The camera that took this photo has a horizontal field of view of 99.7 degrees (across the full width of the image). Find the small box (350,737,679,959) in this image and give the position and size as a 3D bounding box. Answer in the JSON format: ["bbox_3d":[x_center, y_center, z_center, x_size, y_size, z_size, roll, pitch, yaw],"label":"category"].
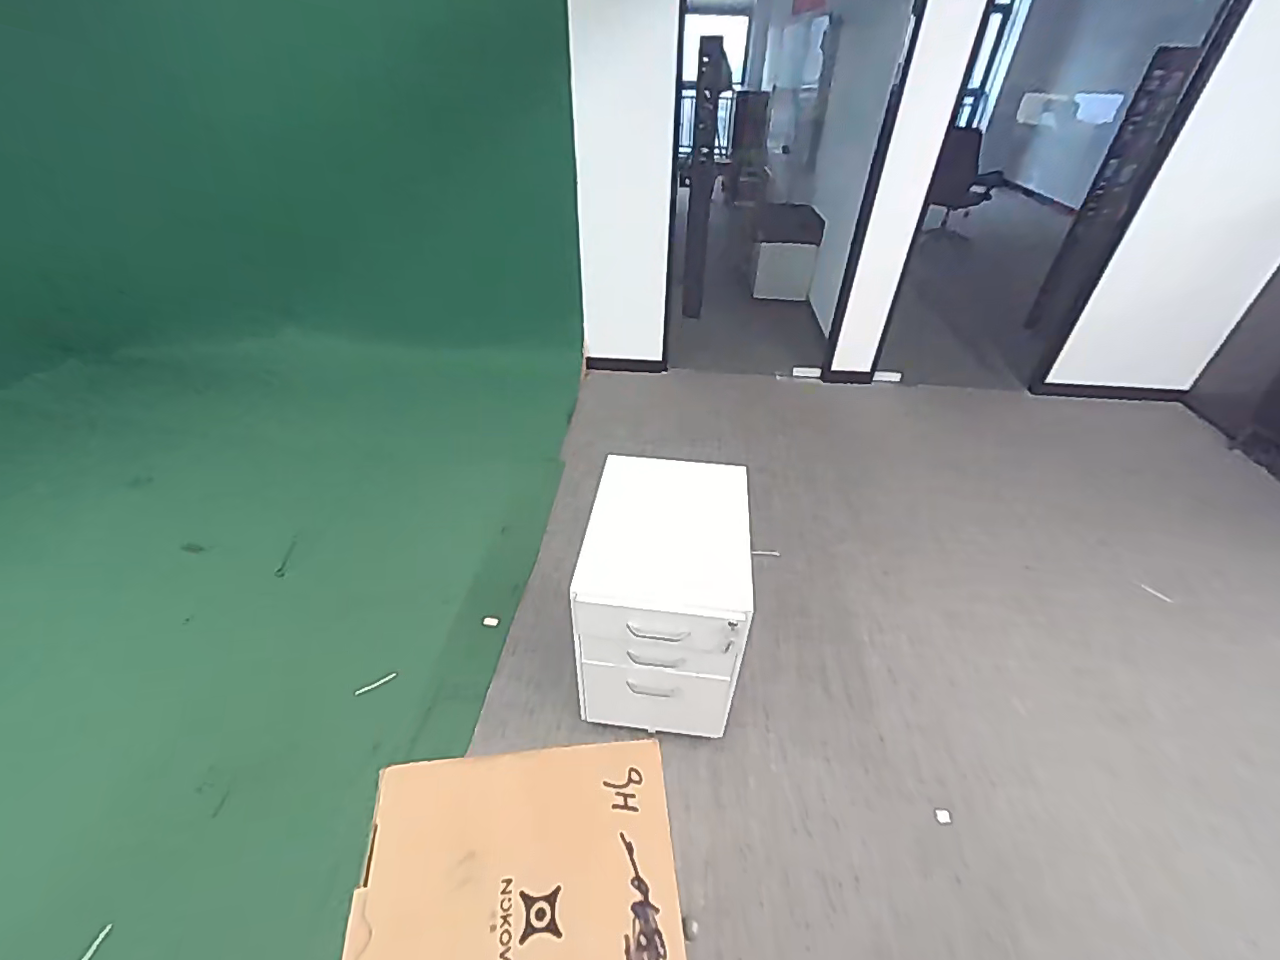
[{"bbox_3d":[-0.075,0.287,0.364,0.179,0.176,0.168,-1,52,-9],"label":"small box"}]
